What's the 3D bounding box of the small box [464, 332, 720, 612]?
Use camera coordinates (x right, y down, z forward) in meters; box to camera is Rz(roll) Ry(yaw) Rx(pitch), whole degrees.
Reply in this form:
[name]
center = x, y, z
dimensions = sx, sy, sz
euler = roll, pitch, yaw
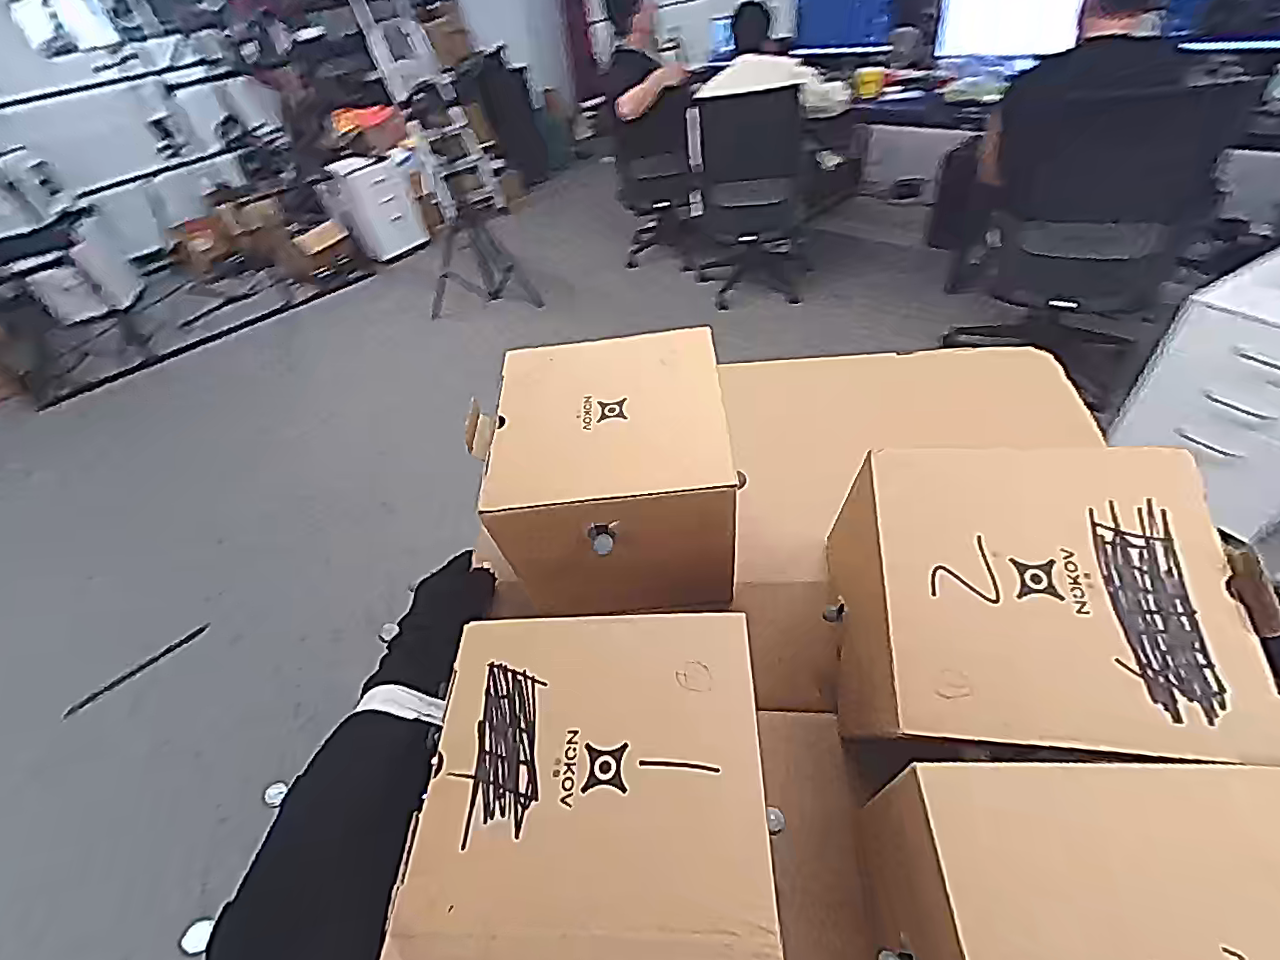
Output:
[small box]
center = -0.027, 0.000, 0.470
dimensions = 0.179, 0.176, 0.168
euler = -8, 52, 5
